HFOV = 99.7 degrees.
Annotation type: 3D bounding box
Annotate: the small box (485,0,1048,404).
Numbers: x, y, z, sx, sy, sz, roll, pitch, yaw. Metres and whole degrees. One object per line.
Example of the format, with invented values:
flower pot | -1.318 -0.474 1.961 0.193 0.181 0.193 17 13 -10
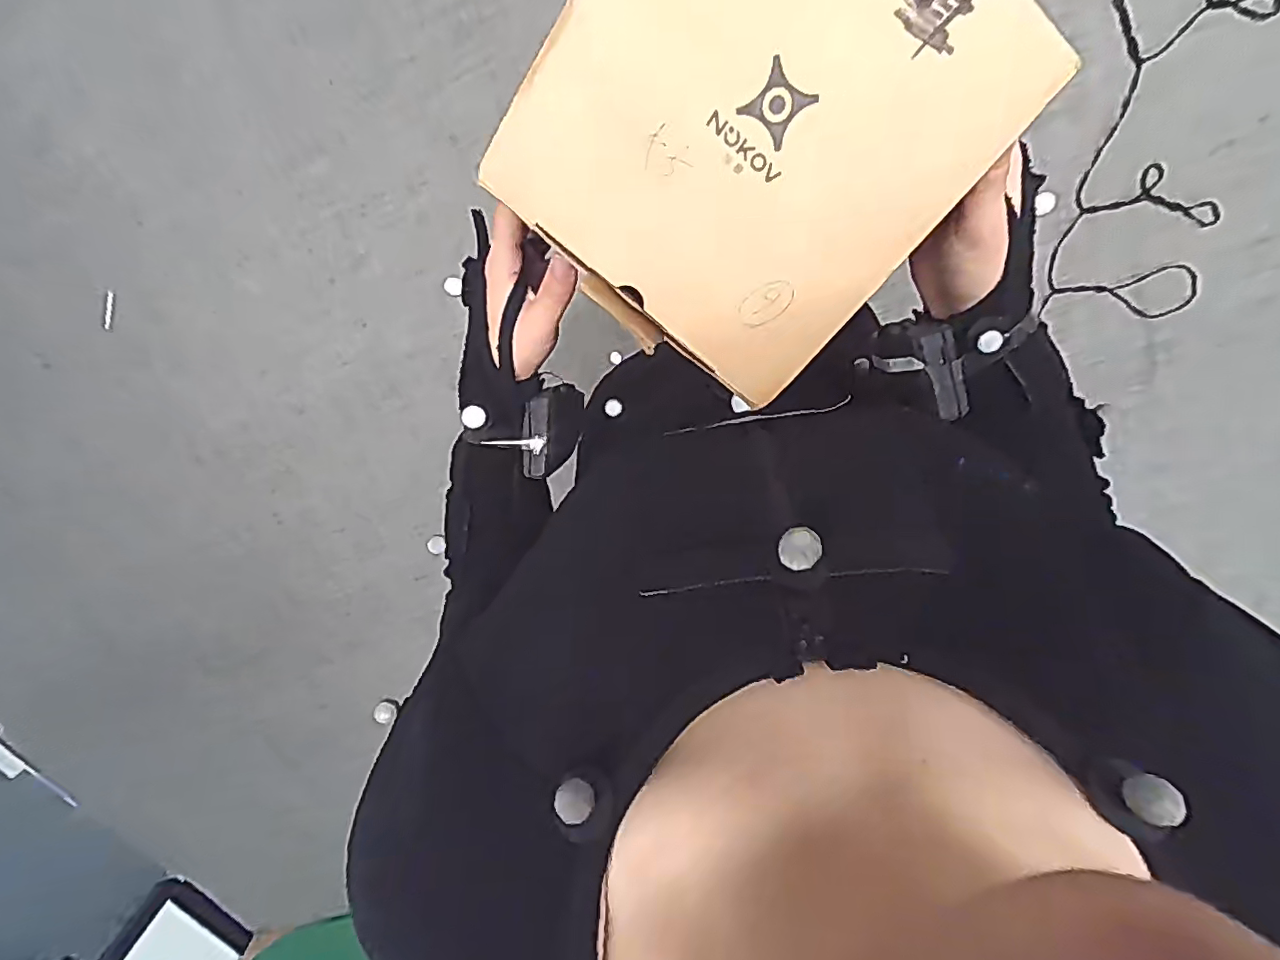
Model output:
small box | 0.051 -0.177 0.296 0.168 0.176 0.179 36 113 -14
